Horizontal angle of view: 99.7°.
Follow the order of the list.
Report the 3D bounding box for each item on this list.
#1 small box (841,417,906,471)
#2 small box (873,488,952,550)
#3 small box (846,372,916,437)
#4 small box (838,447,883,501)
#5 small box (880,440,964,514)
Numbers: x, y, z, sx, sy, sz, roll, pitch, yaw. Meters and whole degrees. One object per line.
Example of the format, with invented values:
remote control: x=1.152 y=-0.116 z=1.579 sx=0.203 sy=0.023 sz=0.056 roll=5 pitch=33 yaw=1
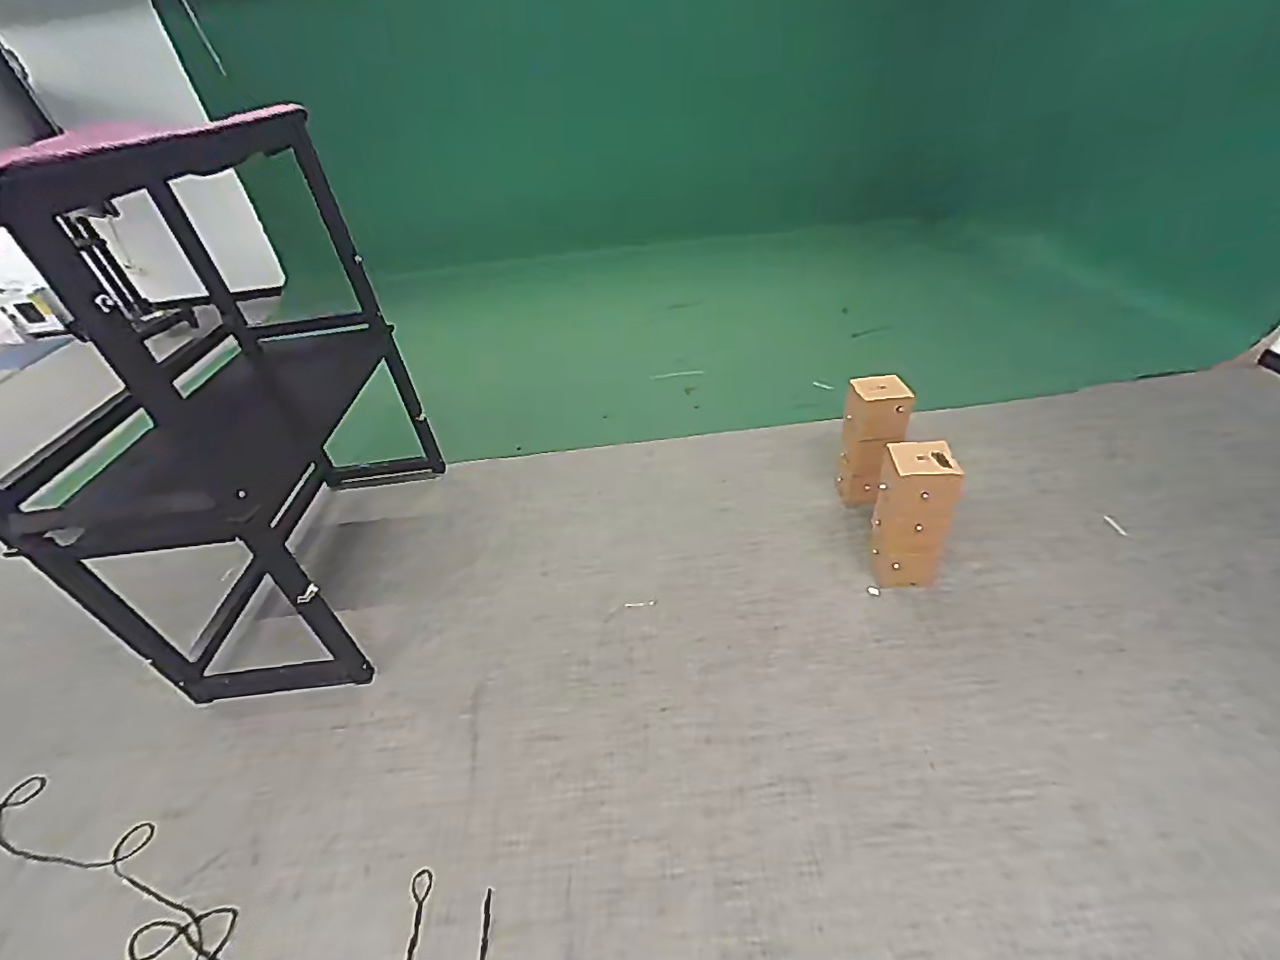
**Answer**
small box: x=0.898 y=-0.151 z=2.095 sx=0.179 sy=0.176 sz=0.168 roll=-7 pitch=38 yaw=3
small box: x=0.886 y=0.117 z=1.773 sx=0.179 sy=0.176 sz=0.168 roll=-2 pitch=40 yaw=8
small box: x=0.878 y=-0.276 z=1.988 sx=0.179 sy=0.176 sz=0.168 roll=-6 pitch=38 yaw=2
small box: x=0.915 y=-0.029 z=2.200 sx=0.179 sy=0.176 sz=0.168 roll=-4 pitch=40 yaw=5
small box: x=0.861 y=-0.008 z=1.670 sx=0.179 sy=0.176 sz=0.168 roll=-2 pitch=40 yaw=10
